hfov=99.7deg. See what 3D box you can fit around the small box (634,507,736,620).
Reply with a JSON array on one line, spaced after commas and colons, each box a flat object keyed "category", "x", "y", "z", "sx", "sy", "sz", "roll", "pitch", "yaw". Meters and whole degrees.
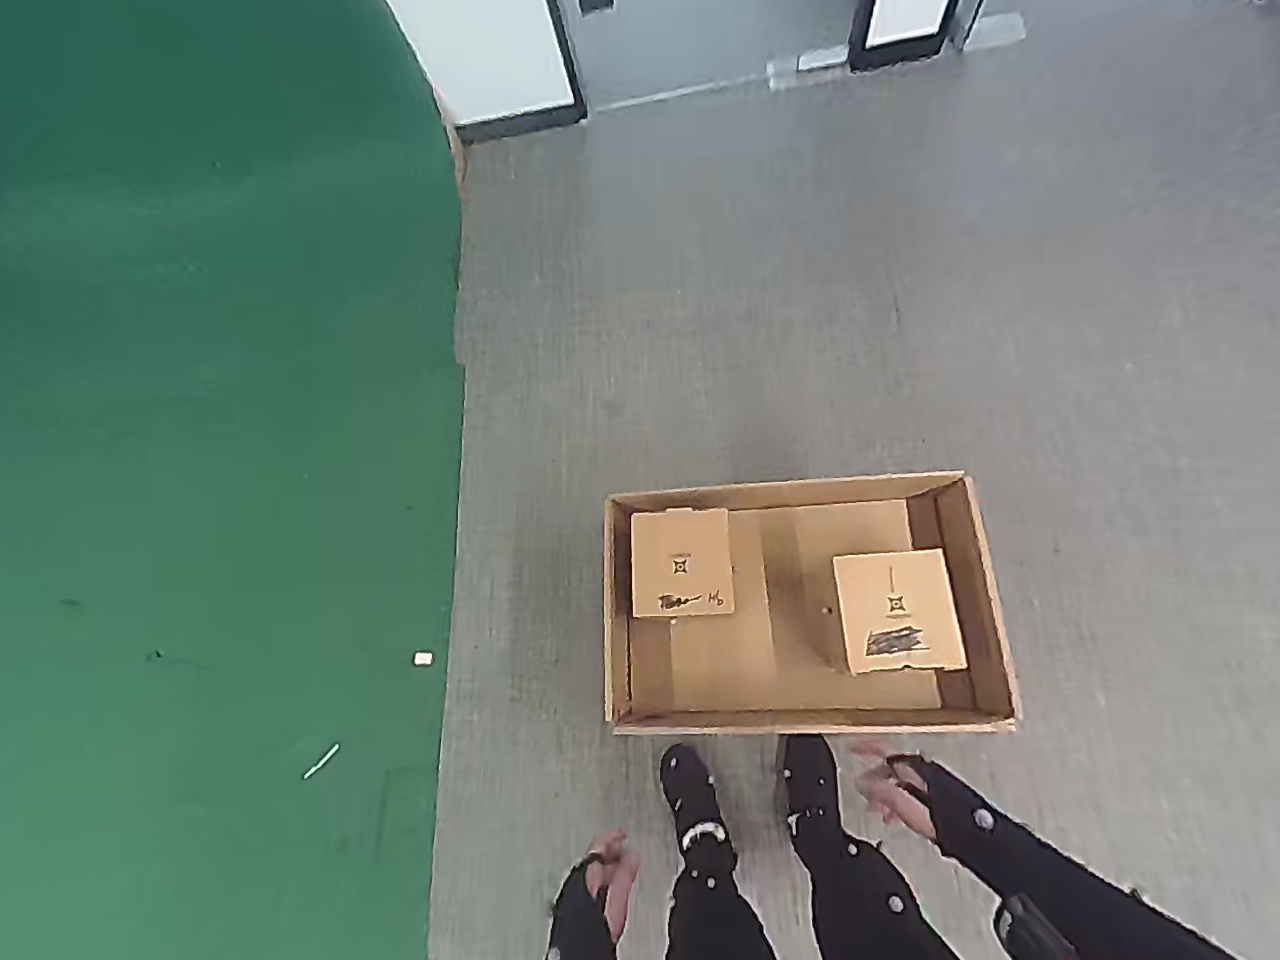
[{"category": "small box", "x": 0.084, "y": 0.153, "z": 0.961, "sx": 0.168, "sy": 0.176, "sz": 0.179, "roll": -2, "pitch": 73, "yaw": 9}]
